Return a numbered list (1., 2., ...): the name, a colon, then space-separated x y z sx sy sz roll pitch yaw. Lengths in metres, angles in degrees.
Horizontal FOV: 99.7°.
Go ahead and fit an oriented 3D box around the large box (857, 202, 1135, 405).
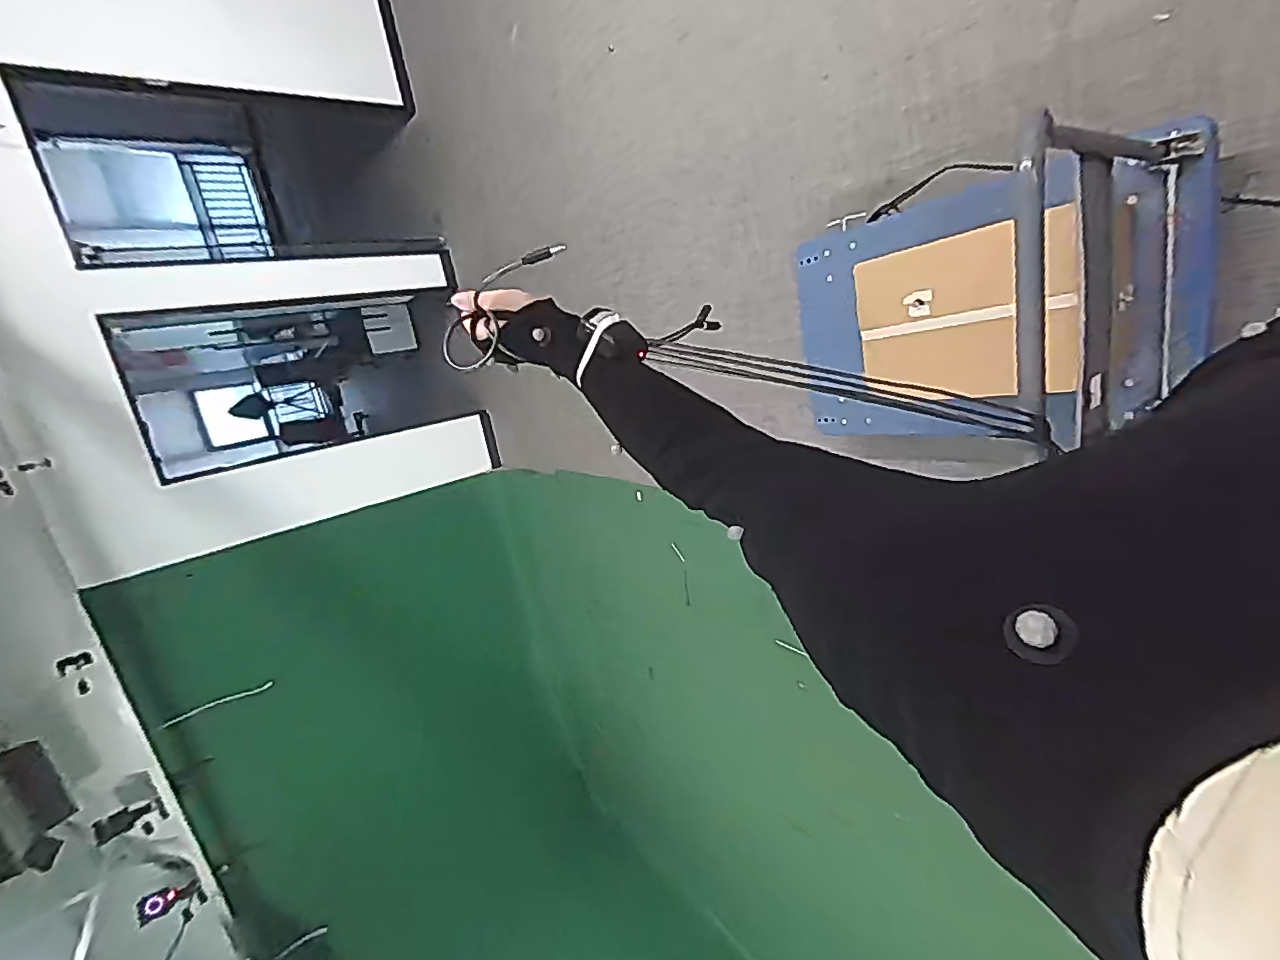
1. large box: 0.740 -0.355 1.141 0.408 0.320 0.320 5 110 54
